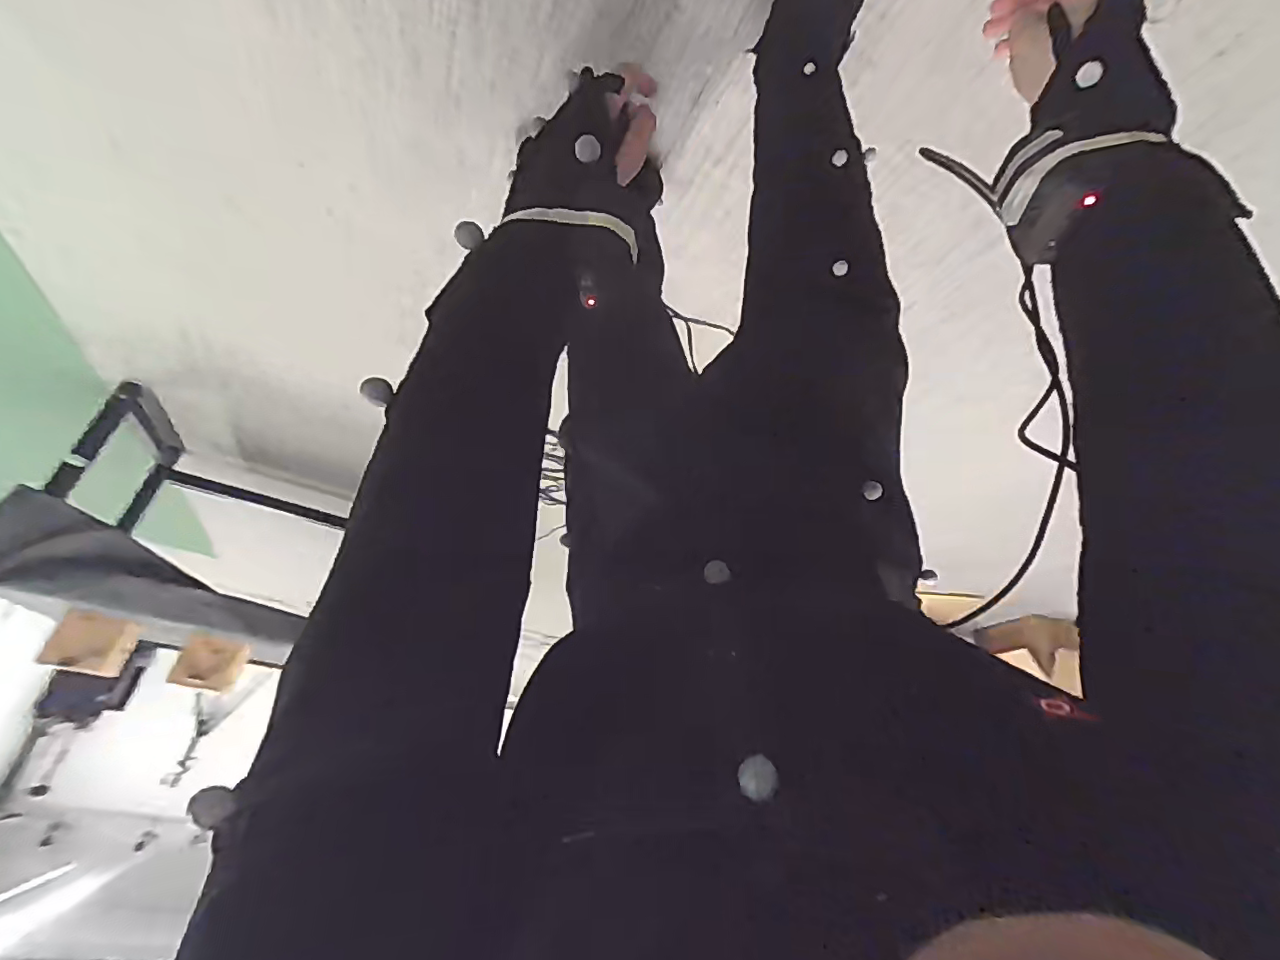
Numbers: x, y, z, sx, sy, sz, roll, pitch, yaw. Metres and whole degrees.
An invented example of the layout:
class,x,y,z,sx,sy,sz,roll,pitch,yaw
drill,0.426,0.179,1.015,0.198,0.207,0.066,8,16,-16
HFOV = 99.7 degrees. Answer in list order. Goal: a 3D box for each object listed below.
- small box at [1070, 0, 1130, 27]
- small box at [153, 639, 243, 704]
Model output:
class,x,y,z,sx,sy,sz,roll,pitch,yaw
small box,0.505,-0.636,0.548,0.168,0.176,0.179,25,146,-28
small box,-1.474,0.646,1.820,0.168,0.176,0.179,20,148,-19
